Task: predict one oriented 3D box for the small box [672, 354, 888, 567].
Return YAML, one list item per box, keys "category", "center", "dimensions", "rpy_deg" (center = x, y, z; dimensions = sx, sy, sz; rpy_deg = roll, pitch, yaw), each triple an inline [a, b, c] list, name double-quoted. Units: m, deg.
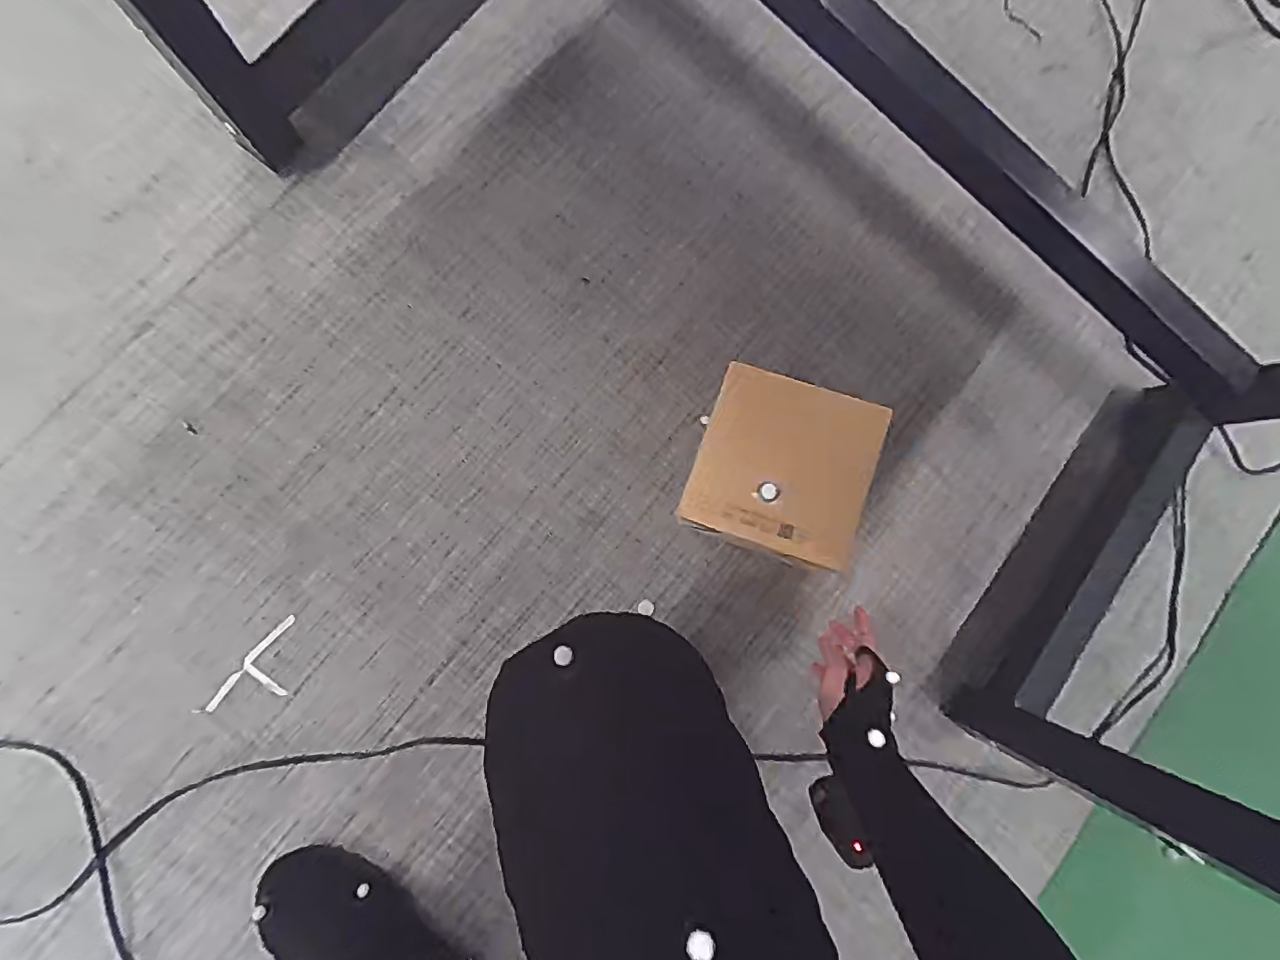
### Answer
- category: "small box"
  center: [0.141, -0.011, 0.598]
  dimensions: [0.168, 0.179, 0.176]
  rpy_deg: [19, 86, 8]
